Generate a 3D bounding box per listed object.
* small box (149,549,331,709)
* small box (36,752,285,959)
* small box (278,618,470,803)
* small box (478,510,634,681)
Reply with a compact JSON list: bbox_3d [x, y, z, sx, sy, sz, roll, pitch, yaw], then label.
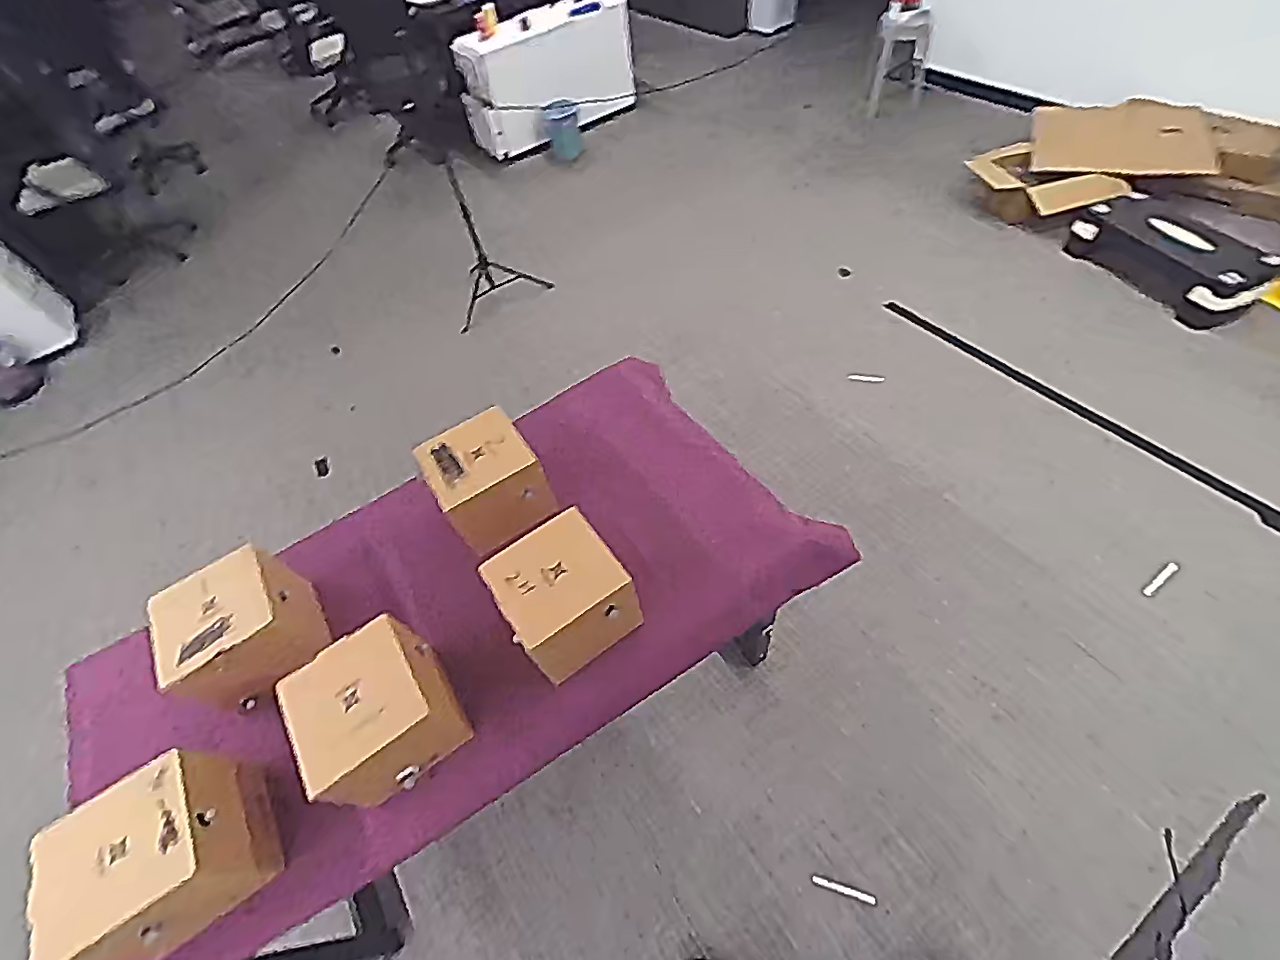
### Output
[{"bbox_3d":[-0.648,0.254,0.893,0.168,0.176,0.179,-34,57,-16],"label":"small box"},{"bbox_3d":[-0.619,0.499,0.713,0.179,0.176,0.168,-33,58,-15],"label":"small box"},{"bbox_3d":[-0.381,0.343,0.793,0.168,0.176,0.179,-34,59,-15],"label":"small box"},{"bbox_3d":[-0.123,0.187,0.863,0.179,0.176,0.168,-34,57,-15],"label":"small box"}]
